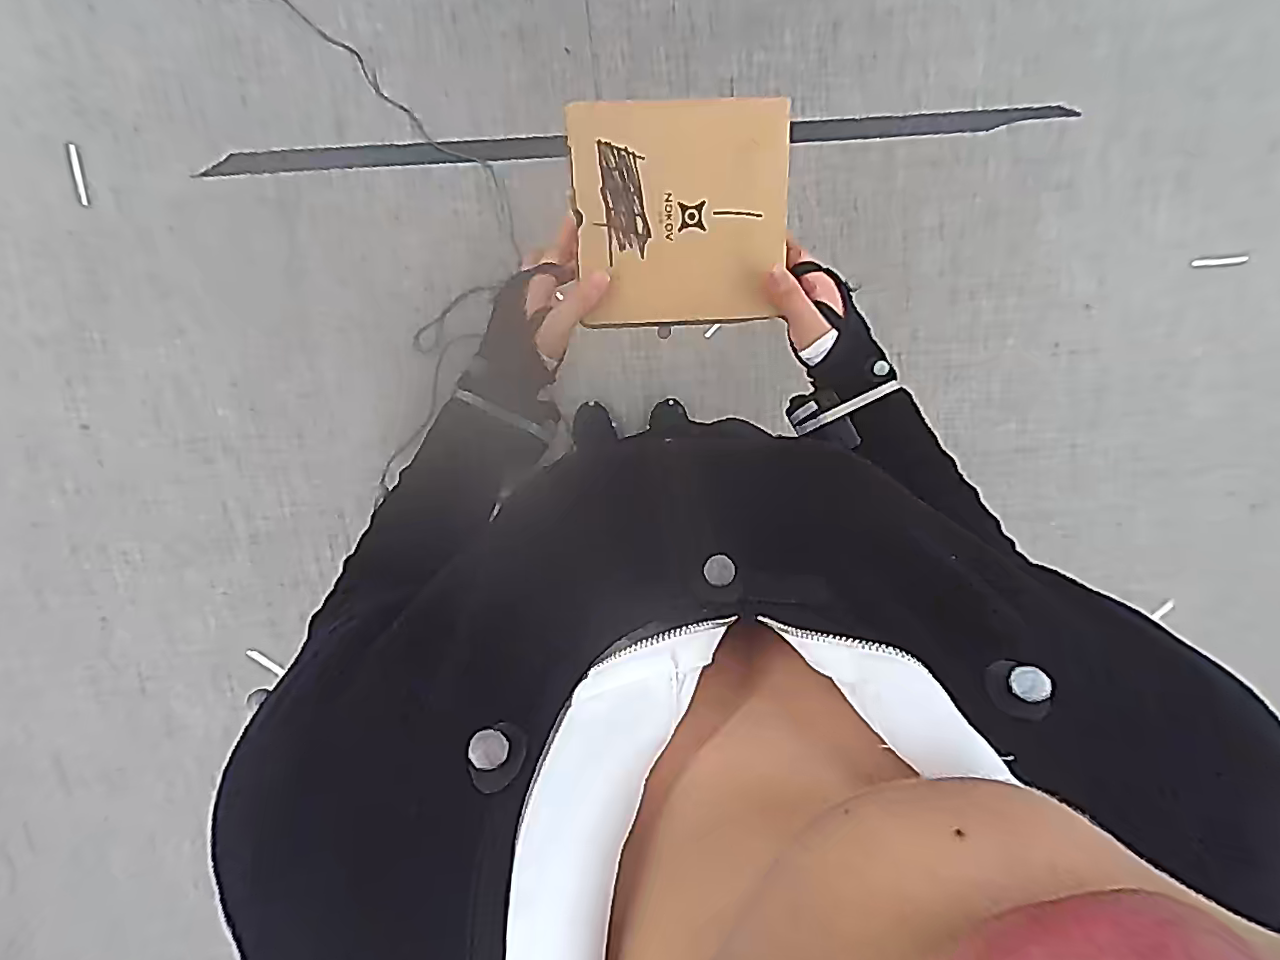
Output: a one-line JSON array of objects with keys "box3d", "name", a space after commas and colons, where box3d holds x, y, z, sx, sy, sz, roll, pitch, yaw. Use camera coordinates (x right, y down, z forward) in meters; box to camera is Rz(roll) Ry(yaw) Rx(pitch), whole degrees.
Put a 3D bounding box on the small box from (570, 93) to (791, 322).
[{"box3d": [0.031, -0.241, 0.519, 0.179, 0.176, 0.168, -3, 105, -3], "name": "small box"}]
